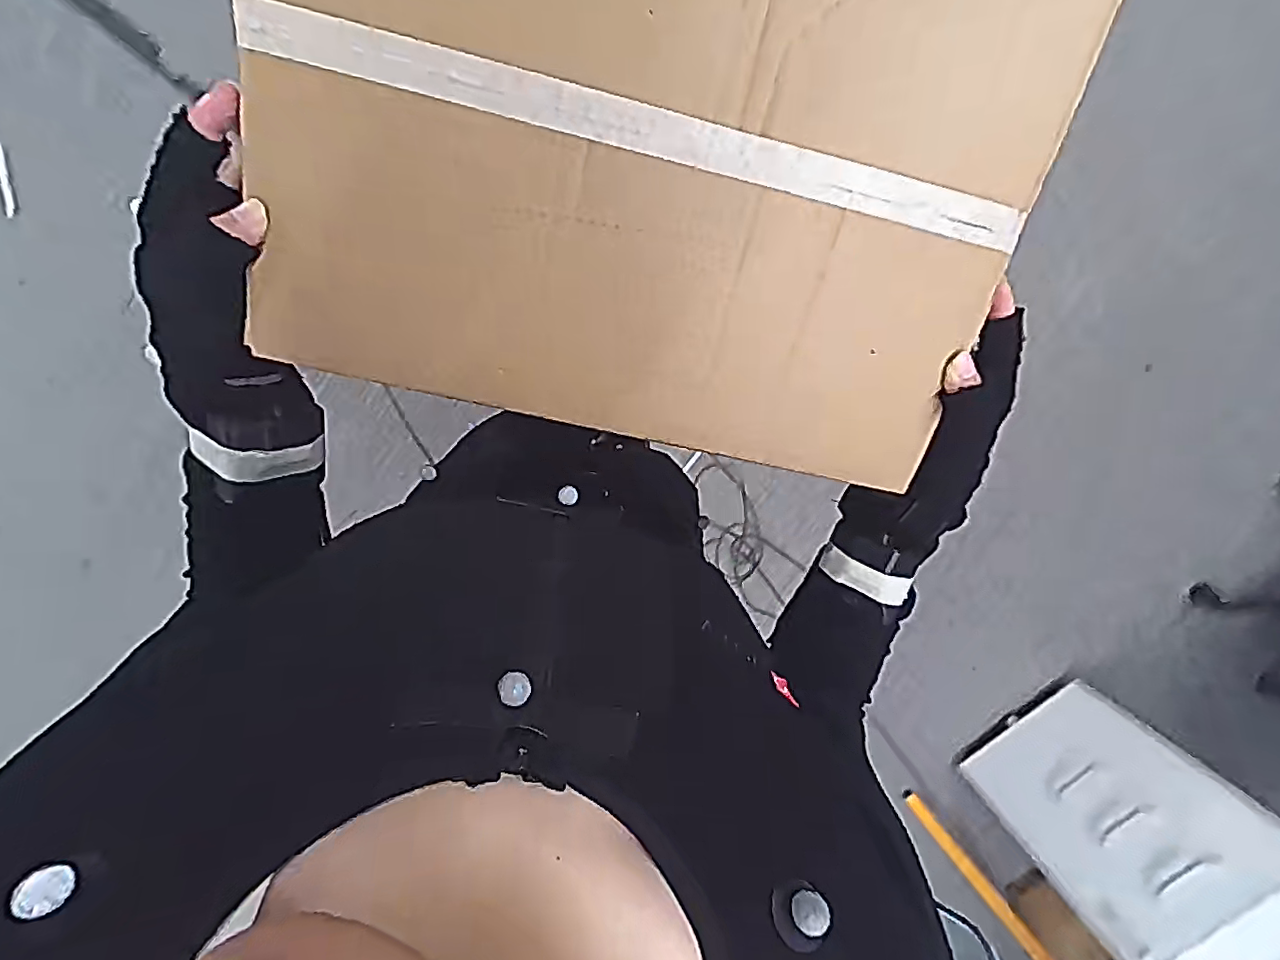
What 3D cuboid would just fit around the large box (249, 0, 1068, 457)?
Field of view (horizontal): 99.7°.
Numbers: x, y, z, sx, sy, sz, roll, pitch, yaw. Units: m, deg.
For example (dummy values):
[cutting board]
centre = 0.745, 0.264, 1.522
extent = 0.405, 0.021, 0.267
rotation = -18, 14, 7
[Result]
[large box]
centre = -0.005, -0.237, 0.425
extent = 0.408, 0.320, 0.320
rotation = 10, 111, -7
